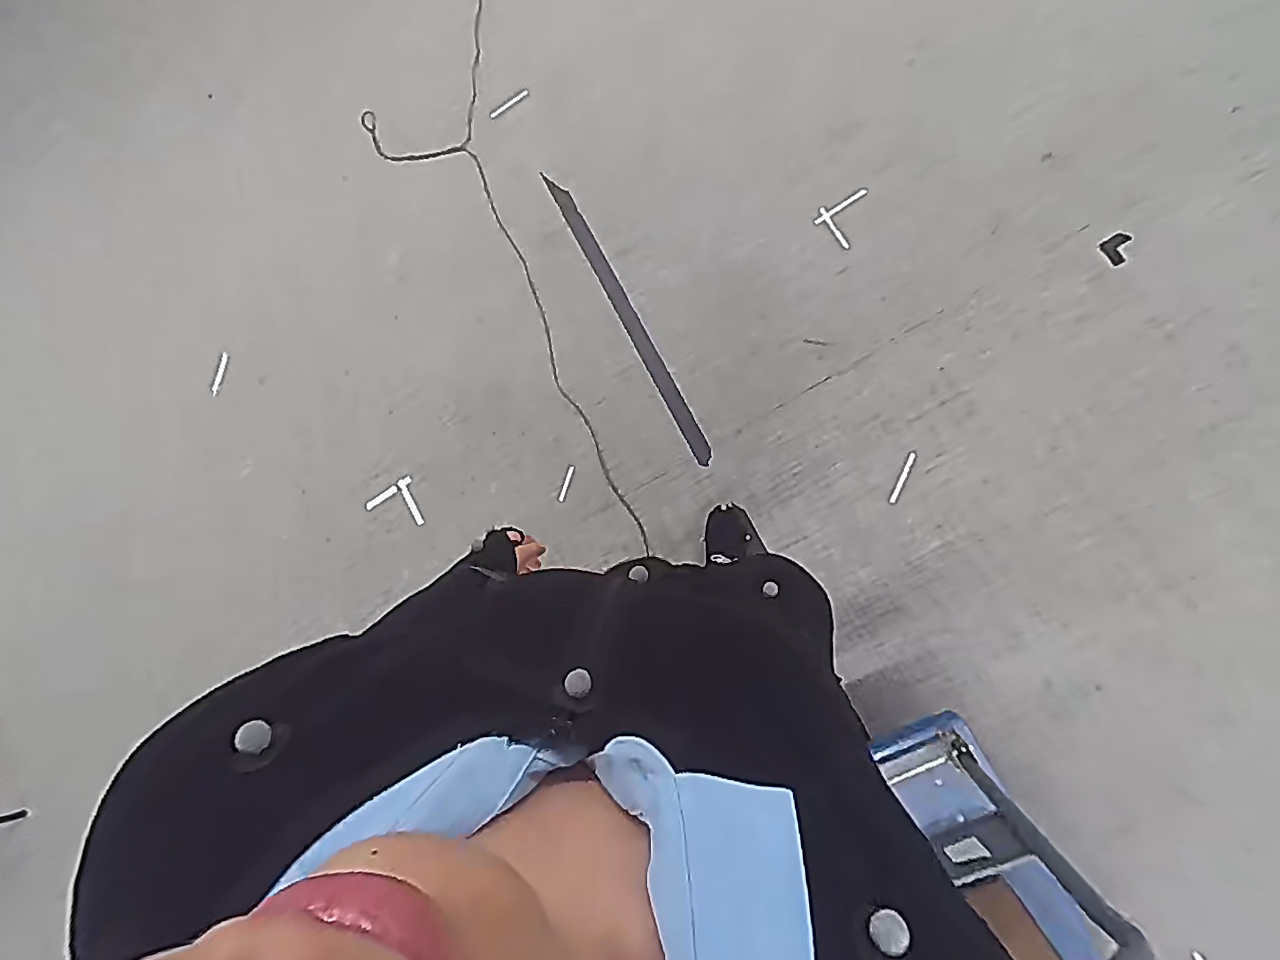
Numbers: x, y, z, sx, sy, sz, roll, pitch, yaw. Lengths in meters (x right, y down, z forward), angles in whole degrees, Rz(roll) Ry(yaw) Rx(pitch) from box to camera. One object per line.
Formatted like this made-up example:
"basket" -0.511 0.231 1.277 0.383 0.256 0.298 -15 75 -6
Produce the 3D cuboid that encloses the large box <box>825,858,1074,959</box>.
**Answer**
"large box" 0.614 1.004 0.998 0.408 0.320 0.320 -28 81 8
